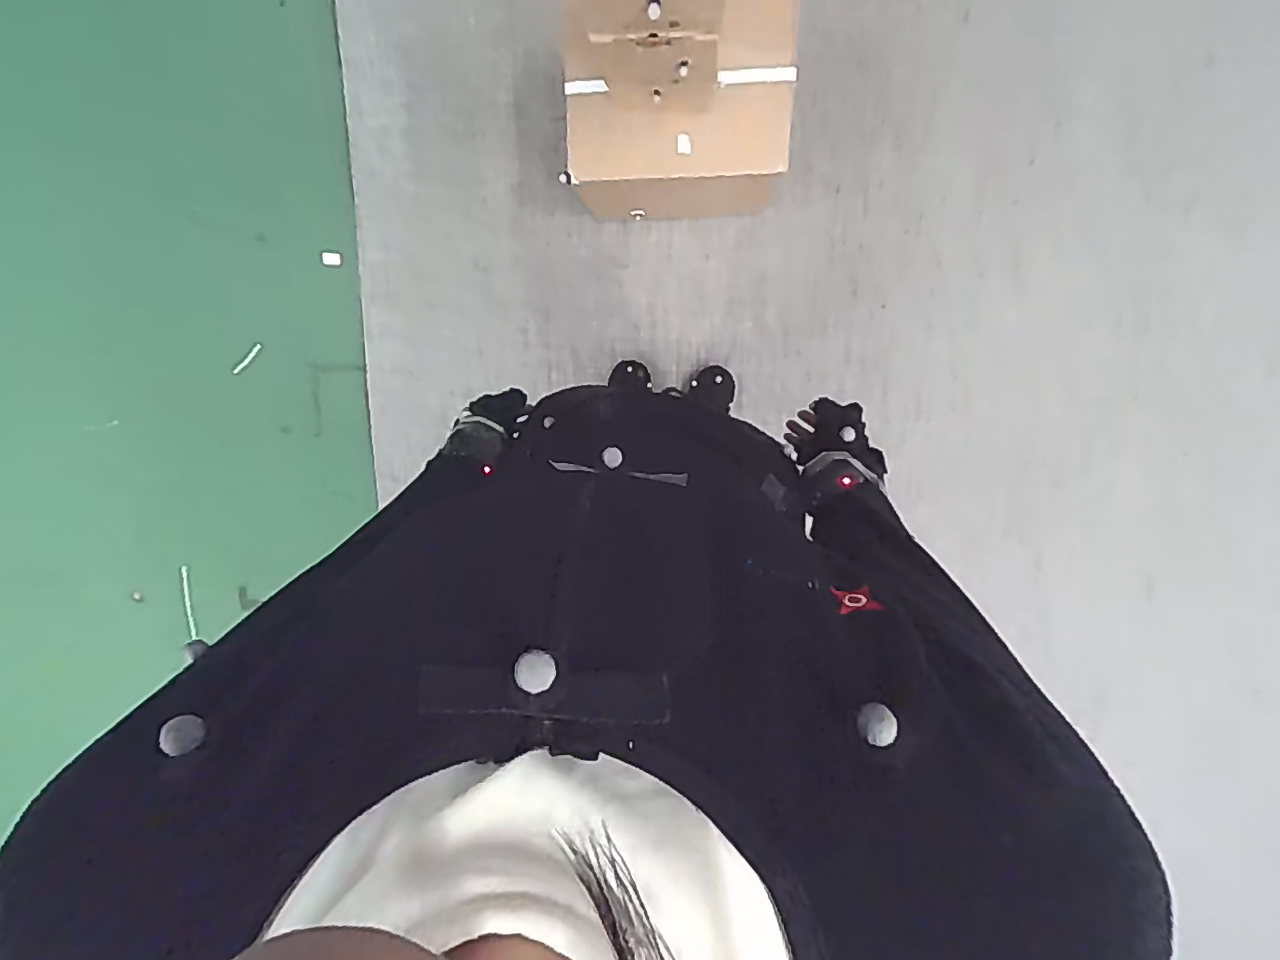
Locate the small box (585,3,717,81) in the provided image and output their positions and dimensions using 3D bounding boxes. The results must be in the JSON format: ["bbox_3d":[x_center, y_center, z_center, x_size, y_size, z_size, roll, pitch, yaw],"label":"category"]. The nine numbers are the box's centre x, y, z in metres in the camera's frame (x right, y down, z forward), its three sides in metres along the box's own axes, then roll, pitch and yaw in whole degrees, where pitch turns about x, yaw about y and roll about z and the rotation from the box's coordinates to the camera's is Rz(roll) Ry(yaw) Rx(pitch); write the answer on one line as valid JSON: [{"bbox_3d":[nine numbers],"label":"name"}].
[{"bbox_3d":[0.021,-0.656,0.715,0.168,0.176,0.179,1,108,4],"label":"small box"}]

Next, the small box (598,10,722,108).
[{"bbox_3d":[0.038,-0.719,0.861,0.179,0.176,0.168,8,108,4],"label":"small box"}]

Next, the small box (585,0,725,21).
[{"bbox_3d":[0.012,-0.610,0.558,0.168,0.176,0.179,2,110,5],"label":"small box"}]
